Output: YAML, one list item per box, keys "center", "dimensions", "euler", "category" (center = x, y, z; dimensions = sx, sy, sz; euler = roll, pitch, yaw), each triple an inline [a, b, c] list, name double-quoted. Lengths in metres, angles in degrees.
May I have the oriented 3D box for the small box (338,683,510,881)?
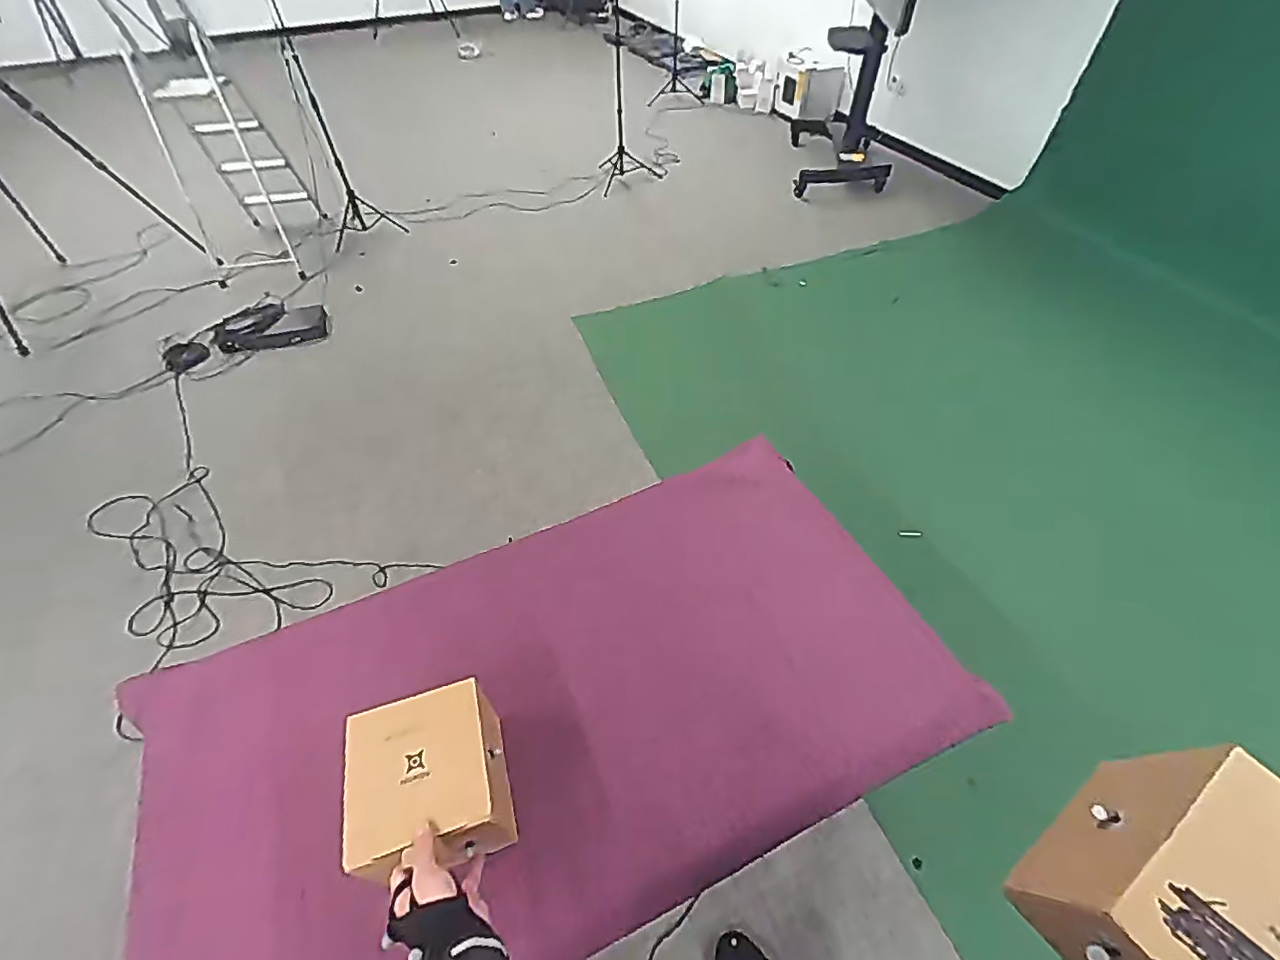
- center: [-0.278, 0.405, 0.719]
  dimensions: [0.168, 0.176, 0.179]
  euler: [-13, 49, -12]
  category: "small box"
